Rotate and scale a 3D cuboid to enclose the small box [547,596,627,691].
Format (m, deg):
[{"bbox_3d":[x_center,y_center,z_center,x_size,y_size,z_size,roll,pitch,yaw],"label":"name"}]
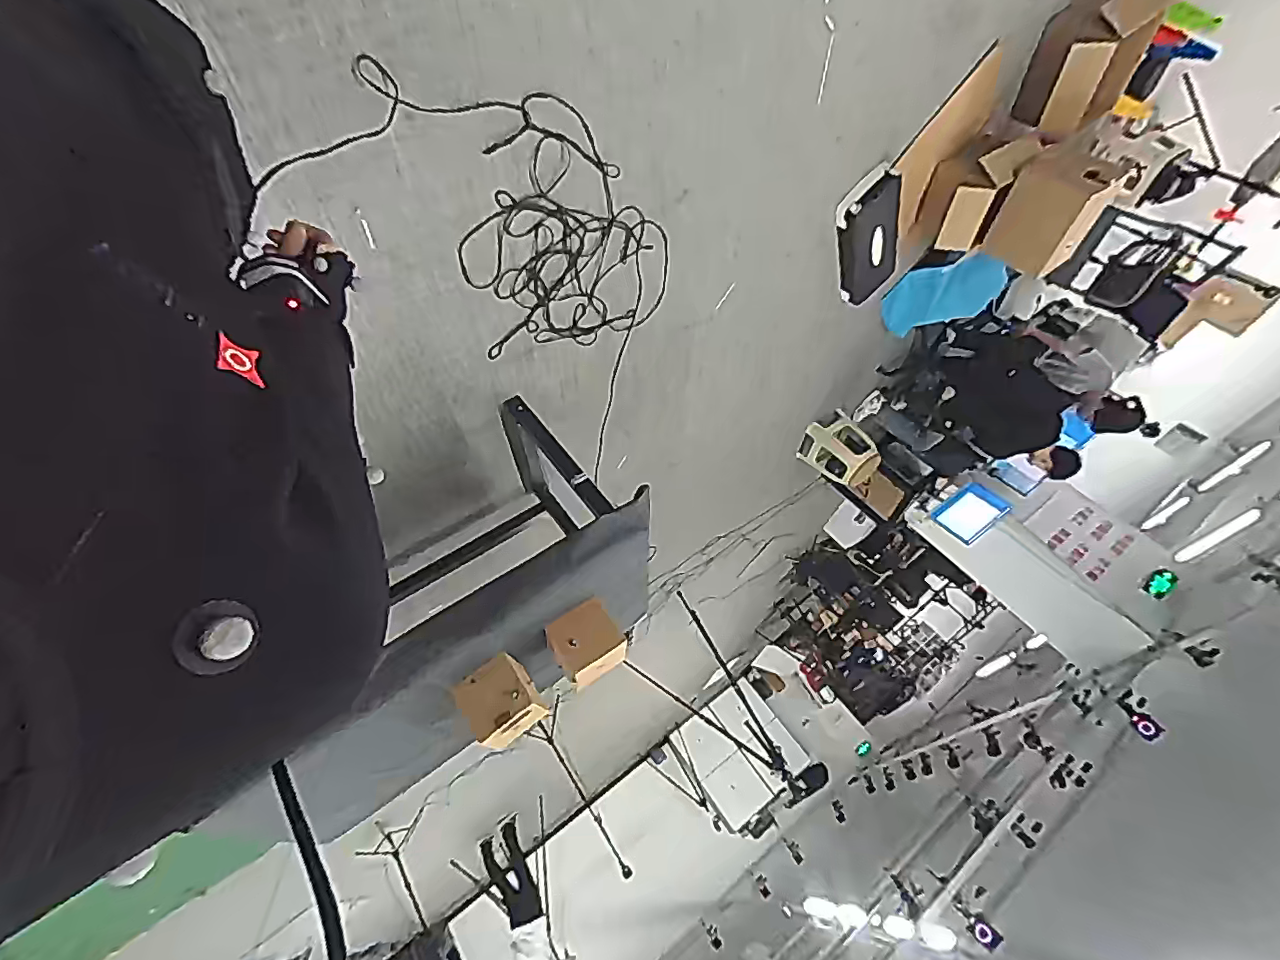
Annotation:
[{"bbox_3d":[-0.161,0.476,1.585,0.179,0.176,0.168,-30,151,-25],"label":"small box"}]
